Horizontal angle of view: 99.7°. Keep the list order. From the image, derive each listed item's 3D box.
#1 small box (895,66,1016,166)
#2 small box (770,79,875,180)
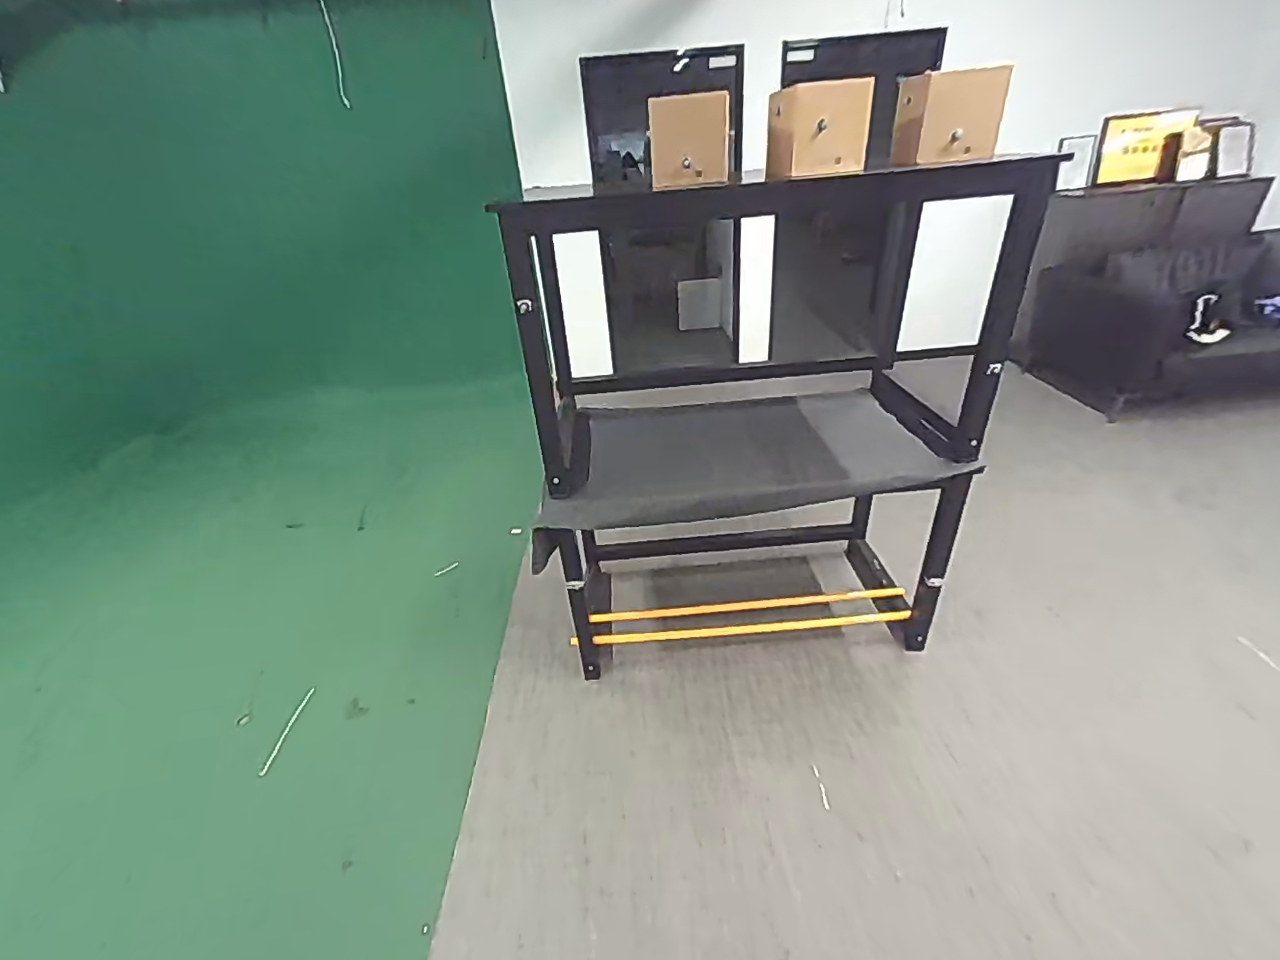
[{"bbox_3d":[0.690,-0.804,1.209,0.168,0.176,0.179,-3,31,5],"label":"small box"},{"bbox_3d":[0.398,-0.773,1.205,0.168,0.176,0.179,-7,30,-4],"label":"small box"}]
